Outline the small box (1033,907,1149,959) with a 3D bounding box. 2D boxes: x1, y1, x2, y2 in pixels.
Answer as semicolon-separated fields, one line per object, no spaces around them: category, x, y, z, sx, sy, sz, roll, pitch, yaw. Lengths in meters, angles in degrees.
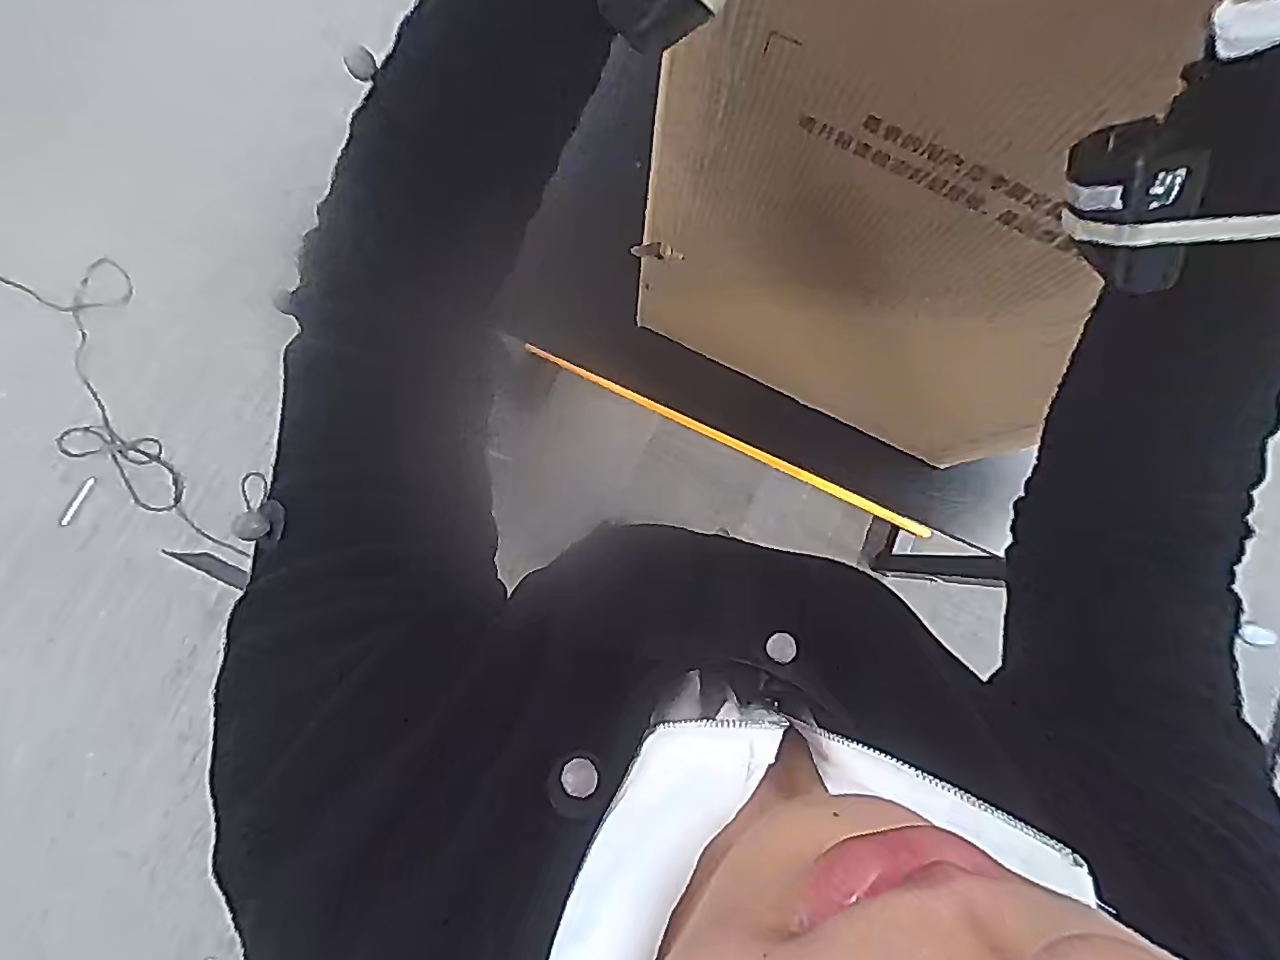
small box;1.149;1.229;1.360;0.179;0.176;0.168;19;82;1
